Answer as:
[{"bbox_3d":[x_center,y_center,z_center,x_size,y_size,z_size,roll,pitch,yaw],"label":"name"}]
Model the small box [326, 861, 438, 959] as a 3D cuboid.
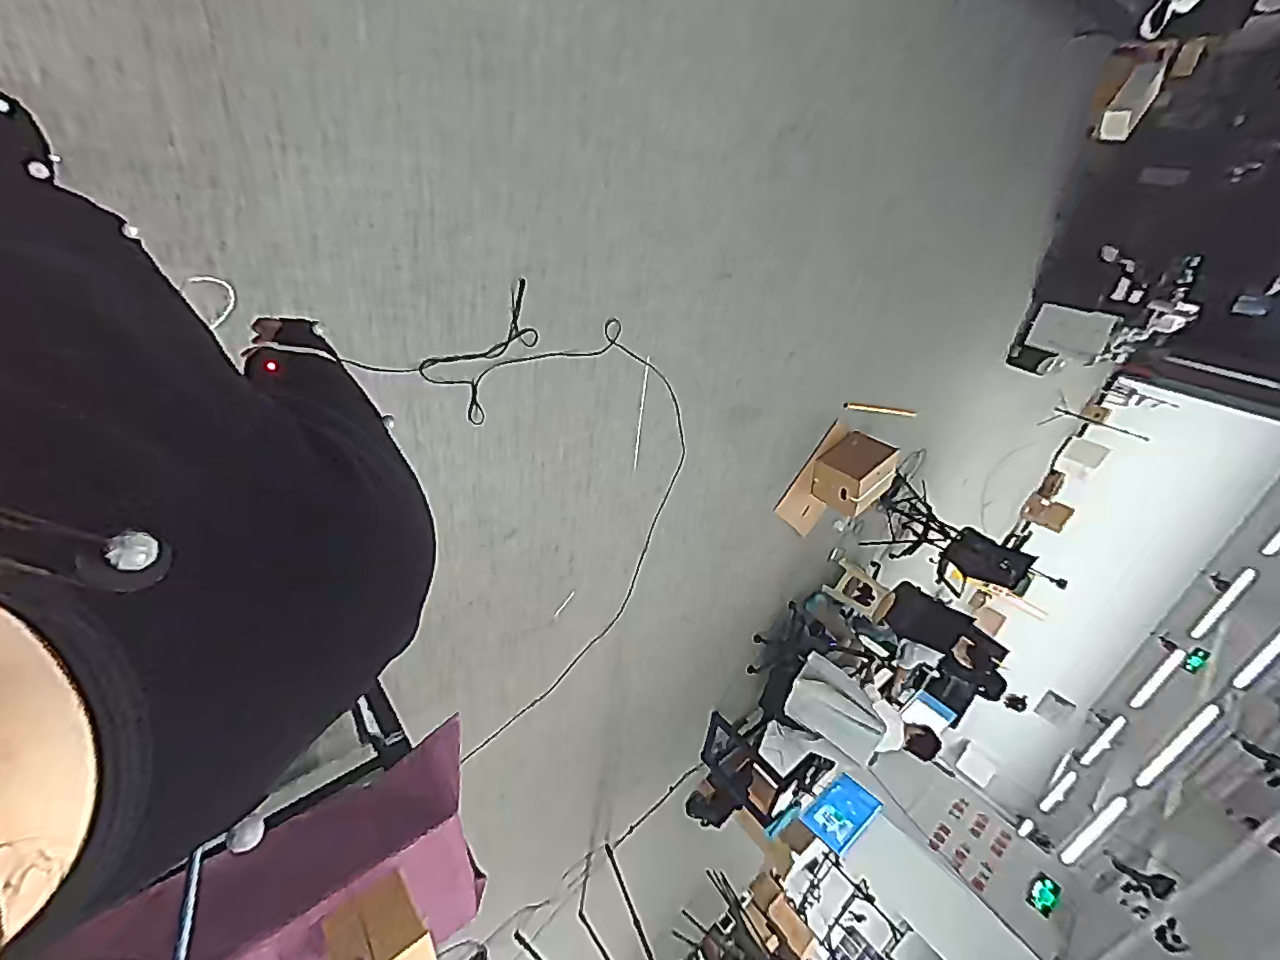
[{"bbox_3d":[-0.587,1.028,1.235,0.179,0.176,0.168,-20,131,-35],"label":"small box"}]
